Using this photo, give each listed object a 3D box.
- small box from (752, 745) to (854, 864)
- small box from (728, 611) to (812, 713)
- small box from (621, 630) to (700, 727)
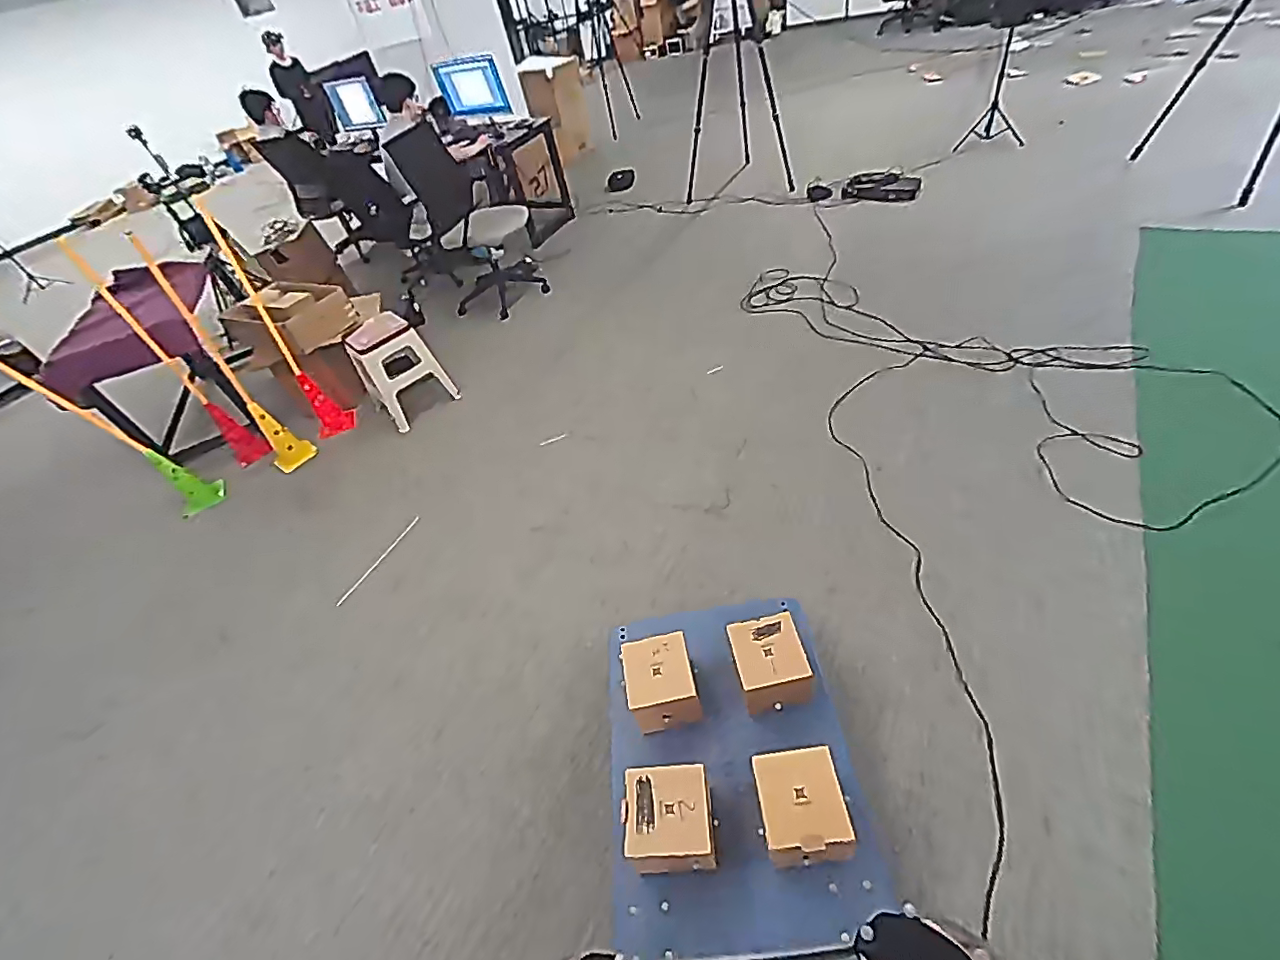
[{"bbox_3d":[0.337,0.693,1.153,0.168,0.176,0.179,-10,46,4],"label":"small box"},{"bbox_3d":[0.325,0.464,1.373,0.168,0.176,0.179,-13,46,2],"label":"small box"},{"bbox_3d":[0.054,0.516,1.392,0.168,0.176,0.179,-12,45,2],"label":"small box"}]
